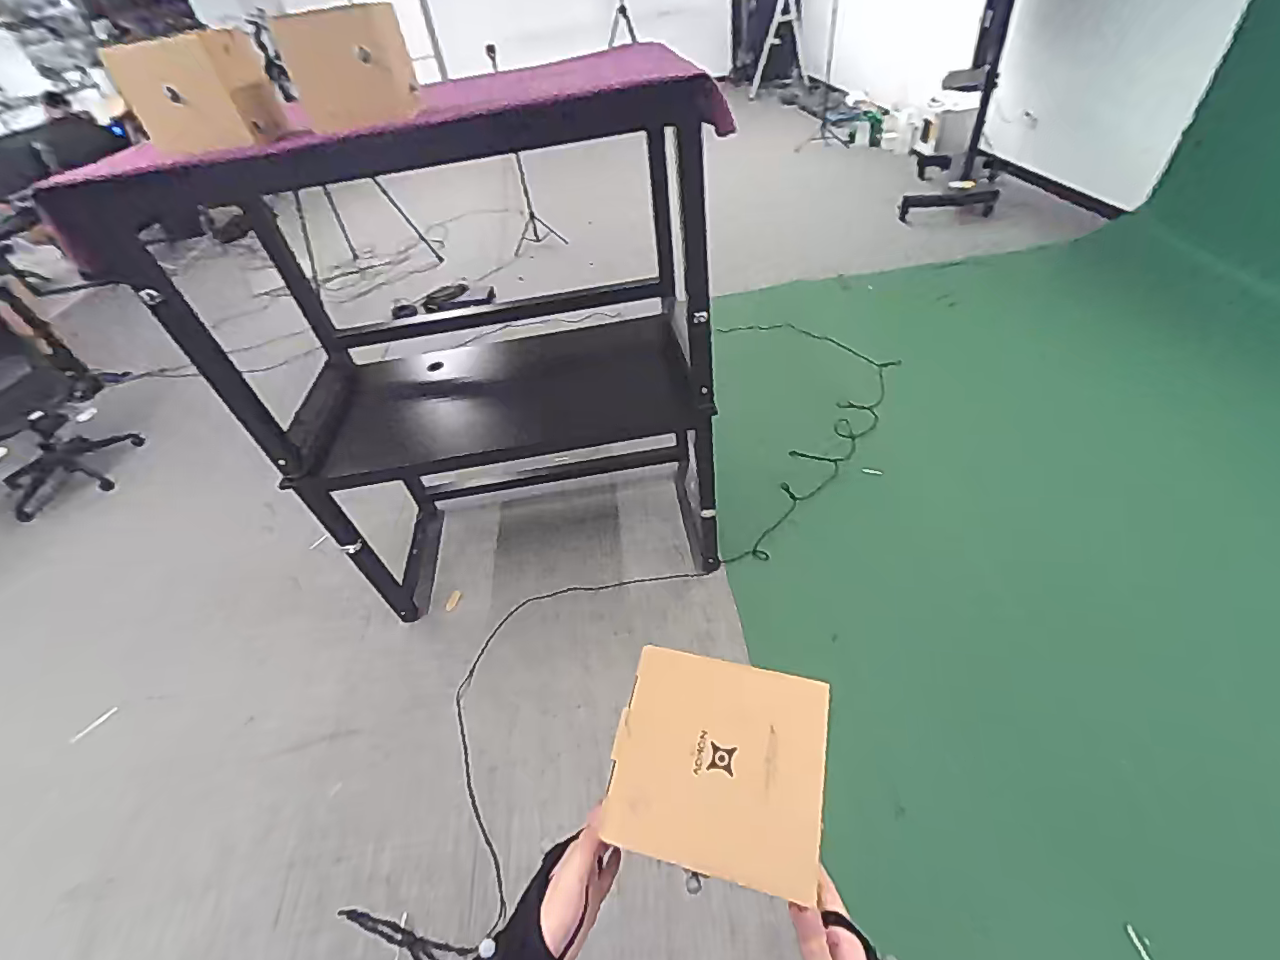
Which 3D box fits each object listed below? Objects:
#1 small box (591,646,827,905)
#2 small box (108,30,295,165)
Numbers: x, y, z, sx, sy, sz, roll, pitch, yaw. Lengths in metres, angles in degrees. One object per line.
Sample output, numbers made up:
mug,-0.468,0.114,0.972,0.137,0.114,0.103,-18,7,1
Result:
small box,0.074,0.283,0.523,0.179,0.176,0.168,8,56,15
small box,-0.783,-0.701,0.993,0.179,0.176,0.168,-9,42,1
